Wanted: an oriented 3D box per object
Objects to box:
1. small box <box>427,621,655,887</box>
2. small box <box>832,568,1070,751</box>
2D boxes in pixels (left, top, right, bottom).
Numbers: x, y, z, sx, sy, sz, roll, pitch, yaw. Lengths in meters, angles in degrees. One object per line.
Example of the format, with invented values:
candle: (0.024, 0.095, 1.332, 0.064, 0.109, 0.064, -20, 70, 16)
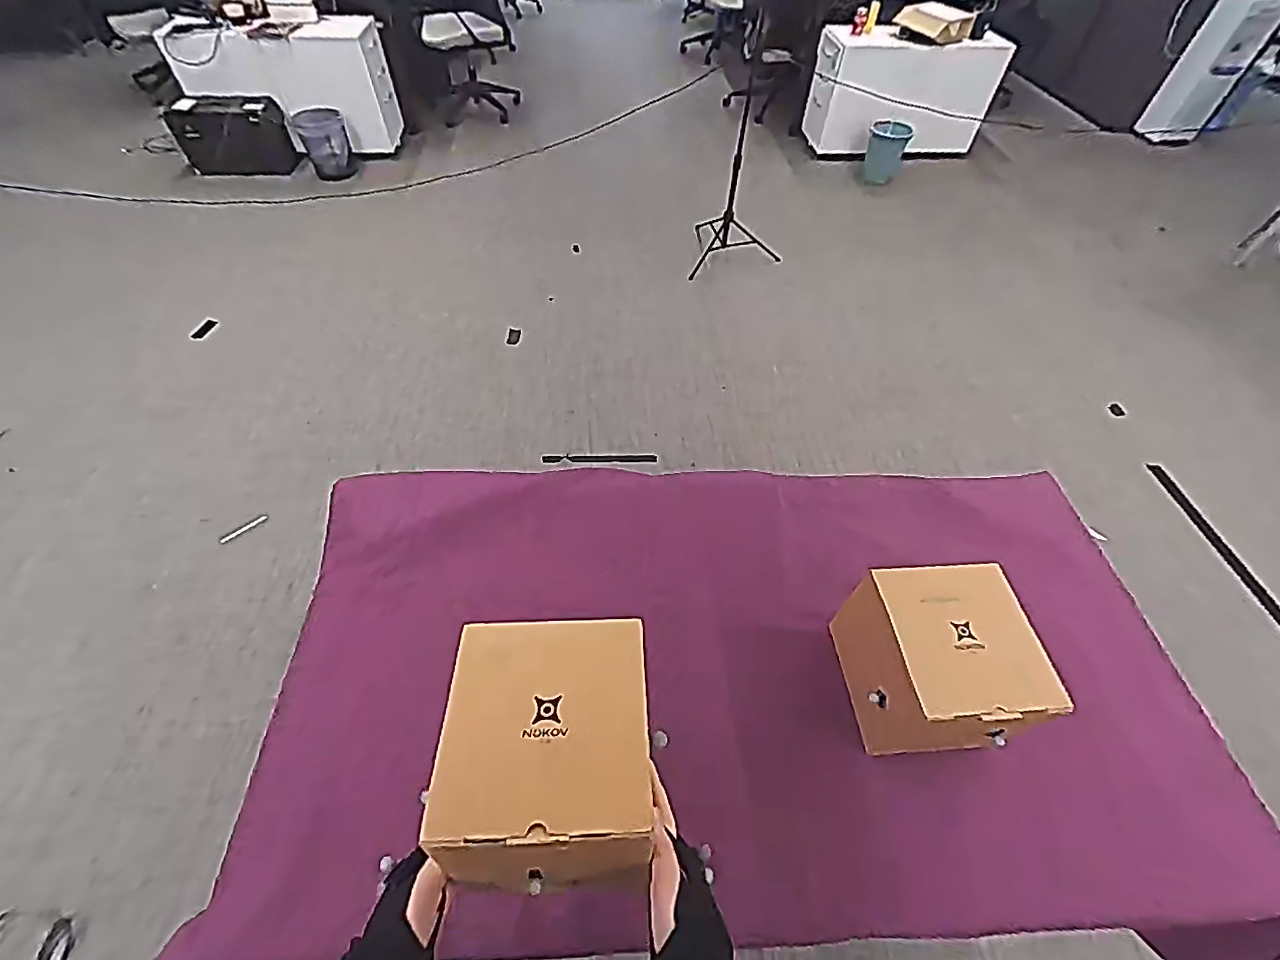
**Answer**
small box: (-0.077, 0.250, 0.499, 0.168, 0.176, 0.179, -1, 45, -3)
small box: (0.361, 0.227, 0.670, 0.168, 0.176, 0.179, -1, 52, -4)
